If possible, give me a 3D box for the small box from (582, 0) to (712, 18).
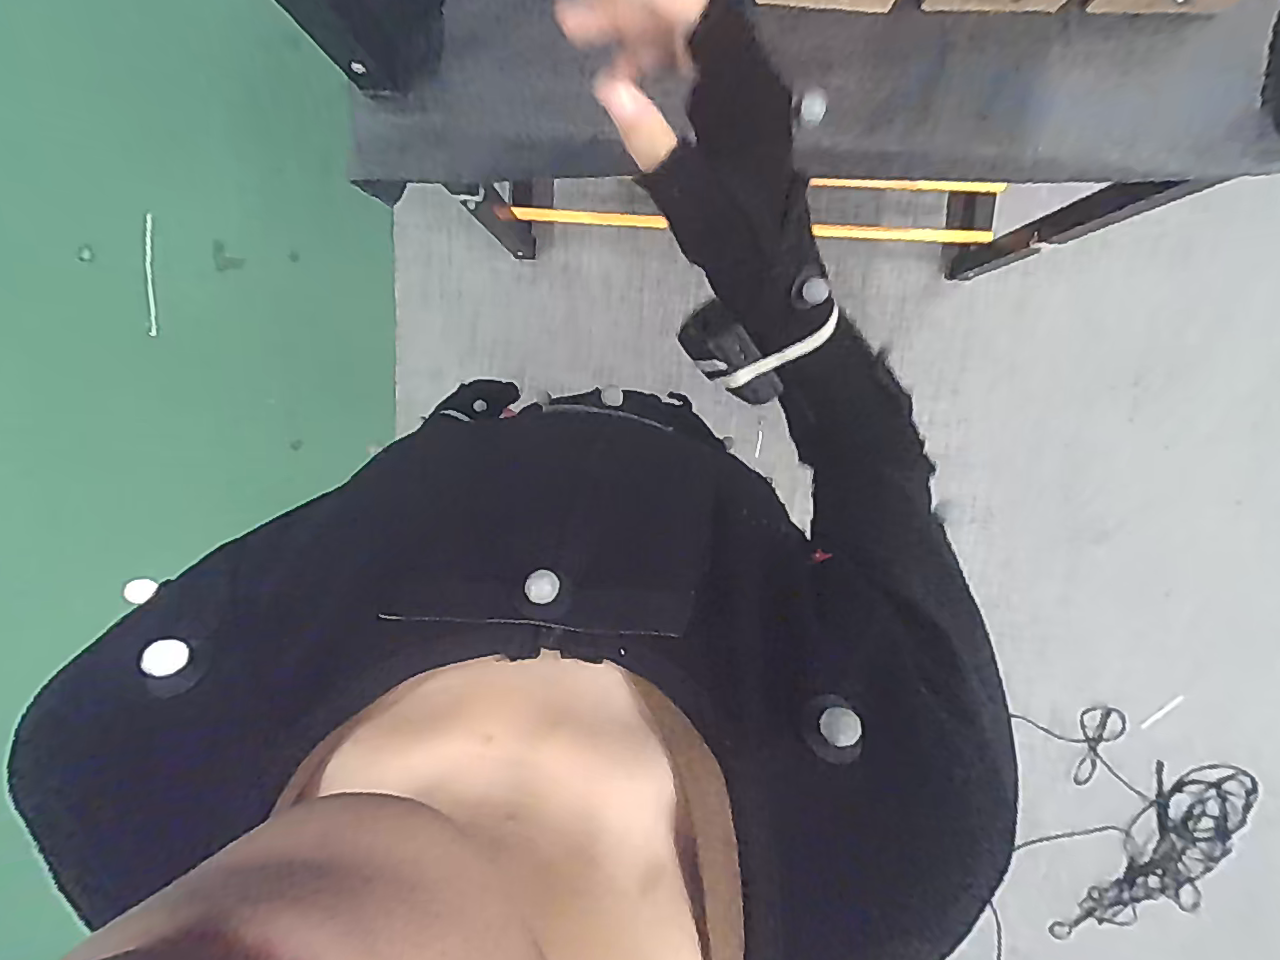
[{"bbox_3d":[0.004,-0.649,0.578,0.168,0.176,0.179,-2,99,2],"label":"small box"}]
